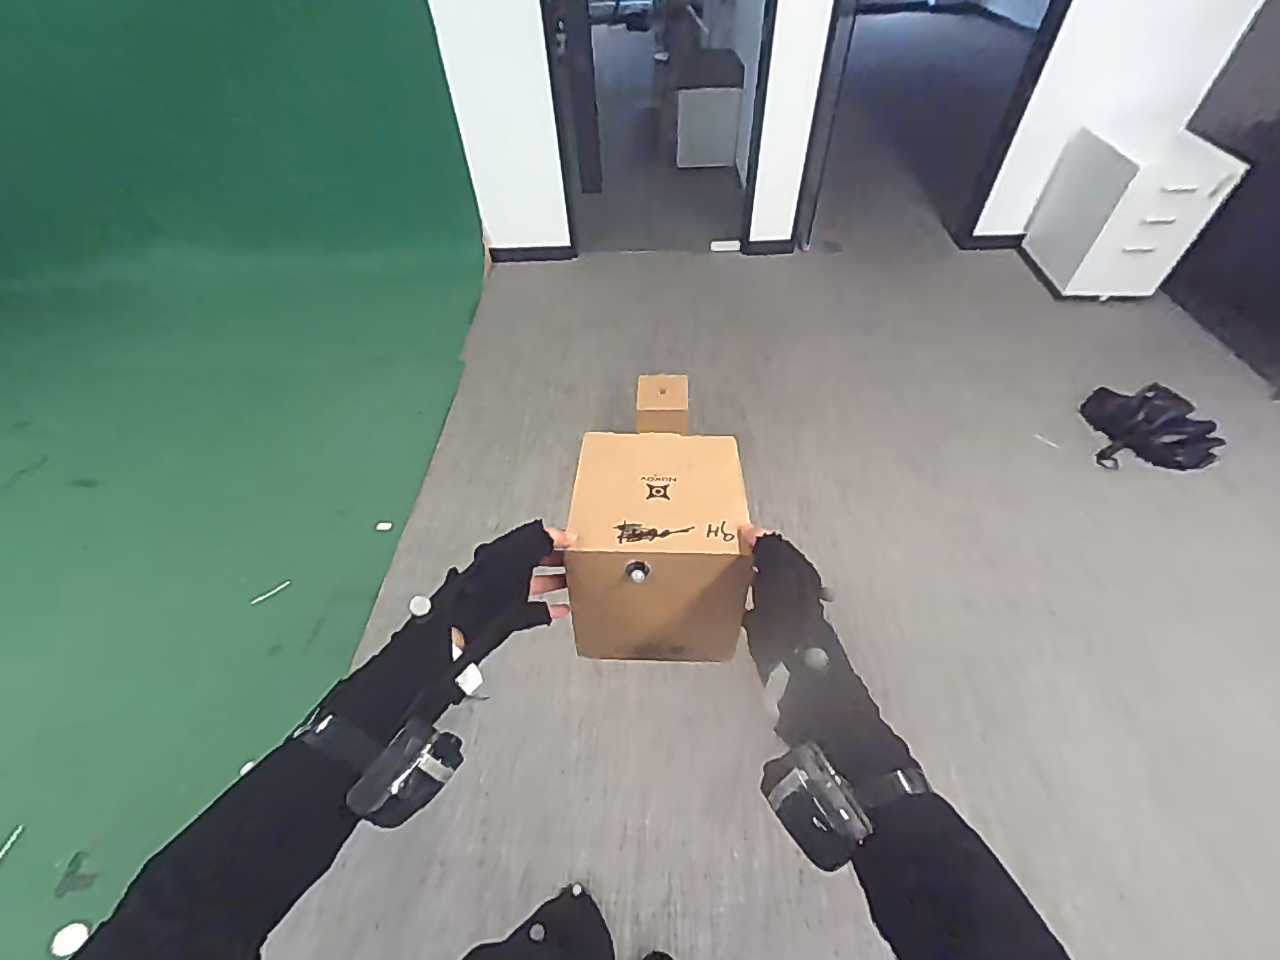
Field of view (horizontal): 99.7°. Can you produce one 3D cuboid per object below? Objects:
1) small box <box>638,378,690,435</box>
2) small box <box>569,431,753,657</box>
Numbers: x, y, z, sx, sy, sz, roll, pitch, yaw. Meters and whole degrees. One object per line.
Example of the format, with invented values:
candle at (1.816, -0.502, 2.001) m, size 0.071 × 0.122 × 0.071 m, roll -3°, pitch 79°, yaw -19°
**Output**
small box at (0.082, -0.225, 1.821) m, size 0.168 × 0.176 × 0.179 m, roll -1°, pitch 49°, yaw 4°
small box at (0.021, 0.065, 0.587) m, size 0.168 × 0.176 × 0.179 m, roll 1°, pitch 39°, yaw 2°
